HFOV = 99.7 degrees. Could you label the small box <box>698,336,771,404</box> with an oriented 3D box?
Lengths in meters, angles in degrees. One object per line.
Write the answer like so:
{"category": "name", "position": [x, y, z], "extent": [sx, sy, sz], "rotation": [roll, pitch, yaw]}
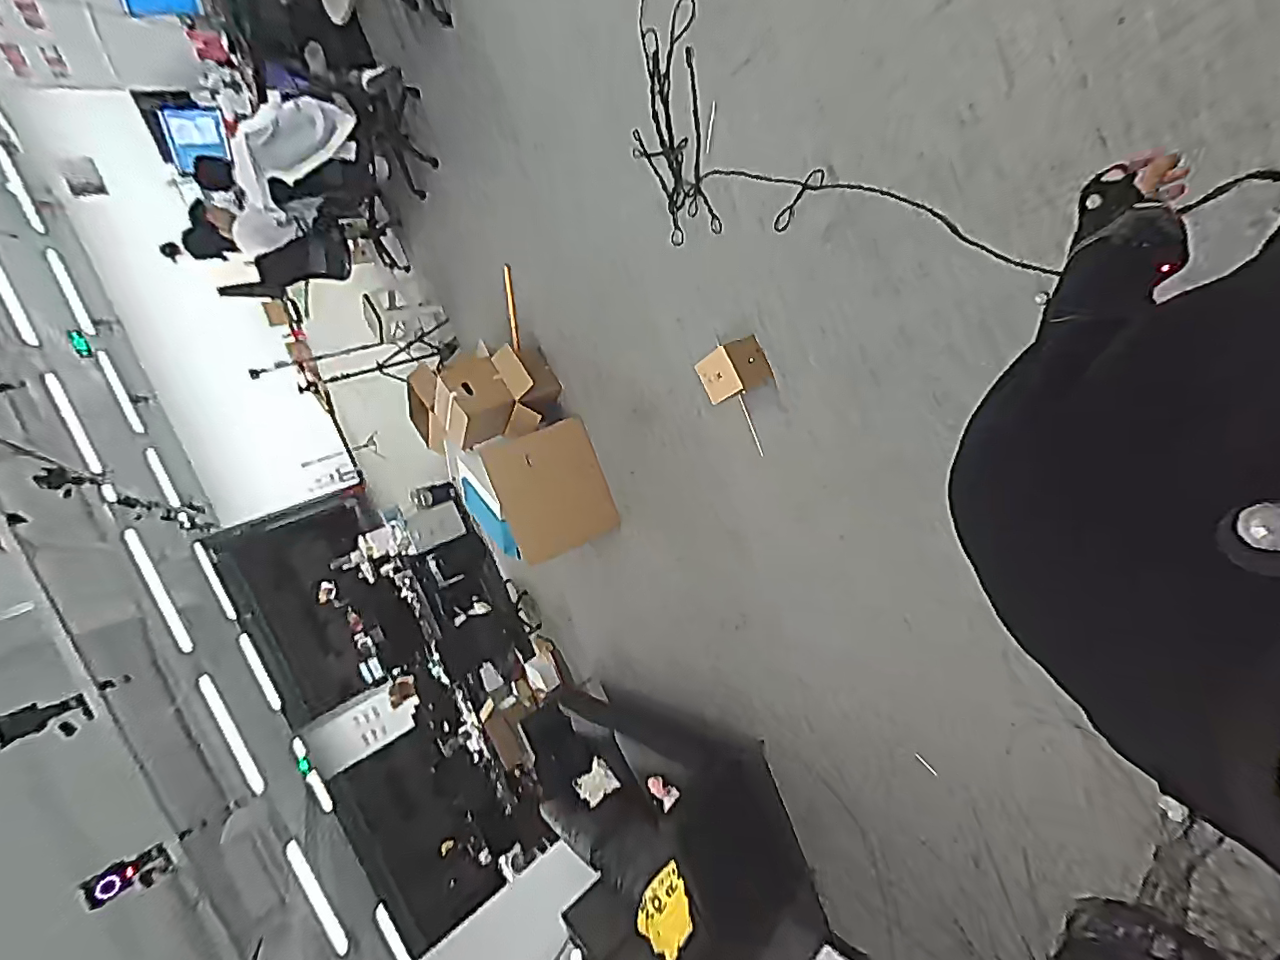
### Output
{"category": "small box", "position": [0.348, -0.400, 1.953], "extent": [0.179, 0.176, 0.168], "rotation": [-26, 90, 59]}
